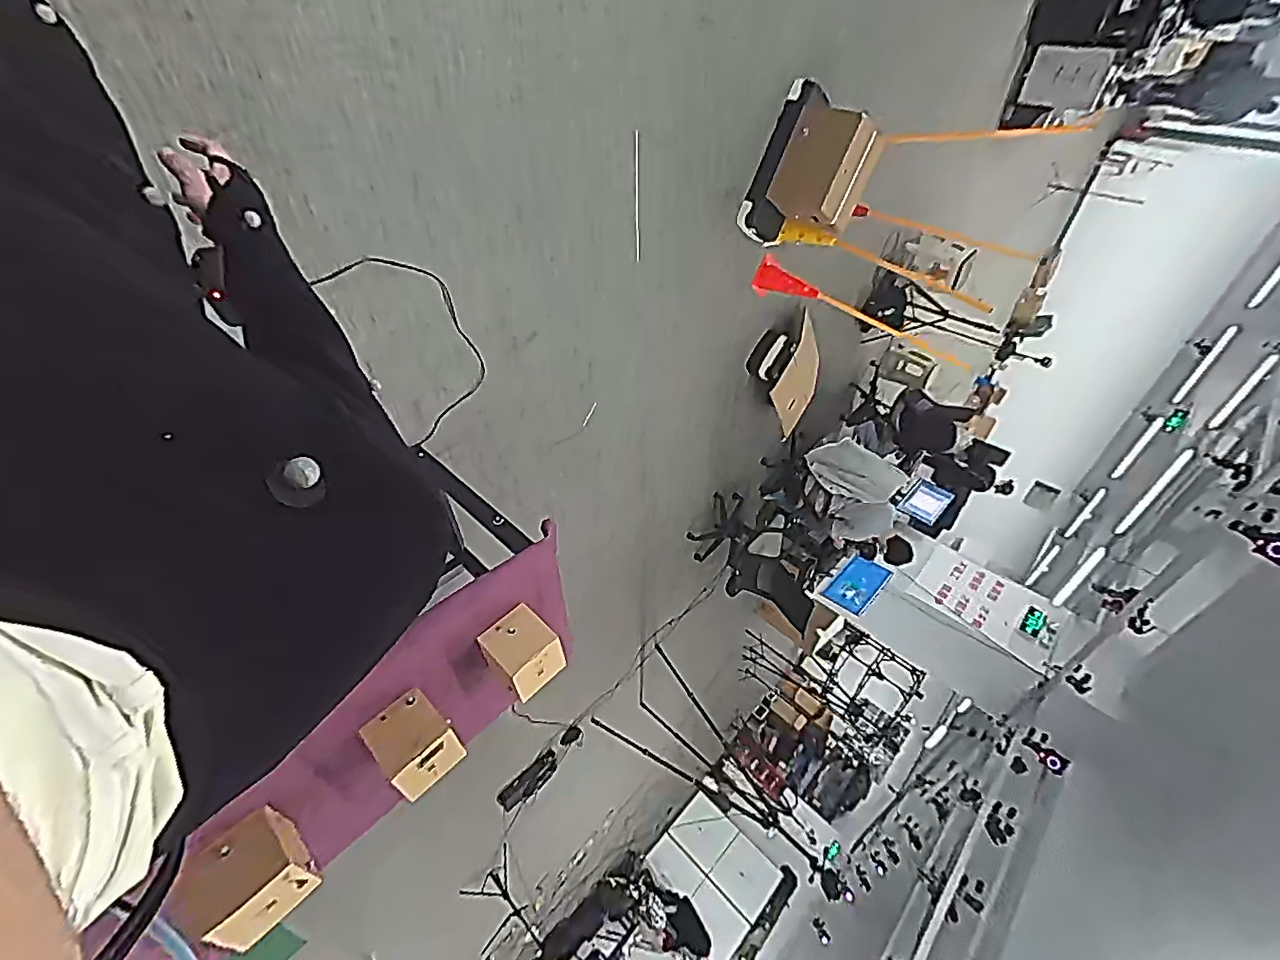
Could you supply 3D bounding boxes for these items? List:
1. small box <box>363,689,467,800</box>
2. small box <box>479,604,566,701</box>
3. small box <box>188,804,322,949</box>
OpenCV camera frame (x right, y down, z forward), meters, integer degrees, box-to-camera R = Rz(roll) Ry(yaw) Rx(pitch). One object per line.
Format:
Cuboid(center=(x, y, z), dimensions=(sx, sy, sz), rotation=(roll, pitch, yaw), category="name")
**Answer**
Cuboid(center=(-0.580, 0.675, 1.397), dimensions=(0.168, 0.176, 0.179), rotation=(-36, 144, -30), category="small box")
Cuboid(center=(-0.338, 0.496, 1.570), dimensions=(0.168, 0.176, 0.179), rotation=(-37, 144, -30), category="small box")
Cuboid(center=(-0.852, 0.869, 1.193), dimensions=(0.179, 0.176, 0.168), rotation=(-35, 143, -32), category="small box")
